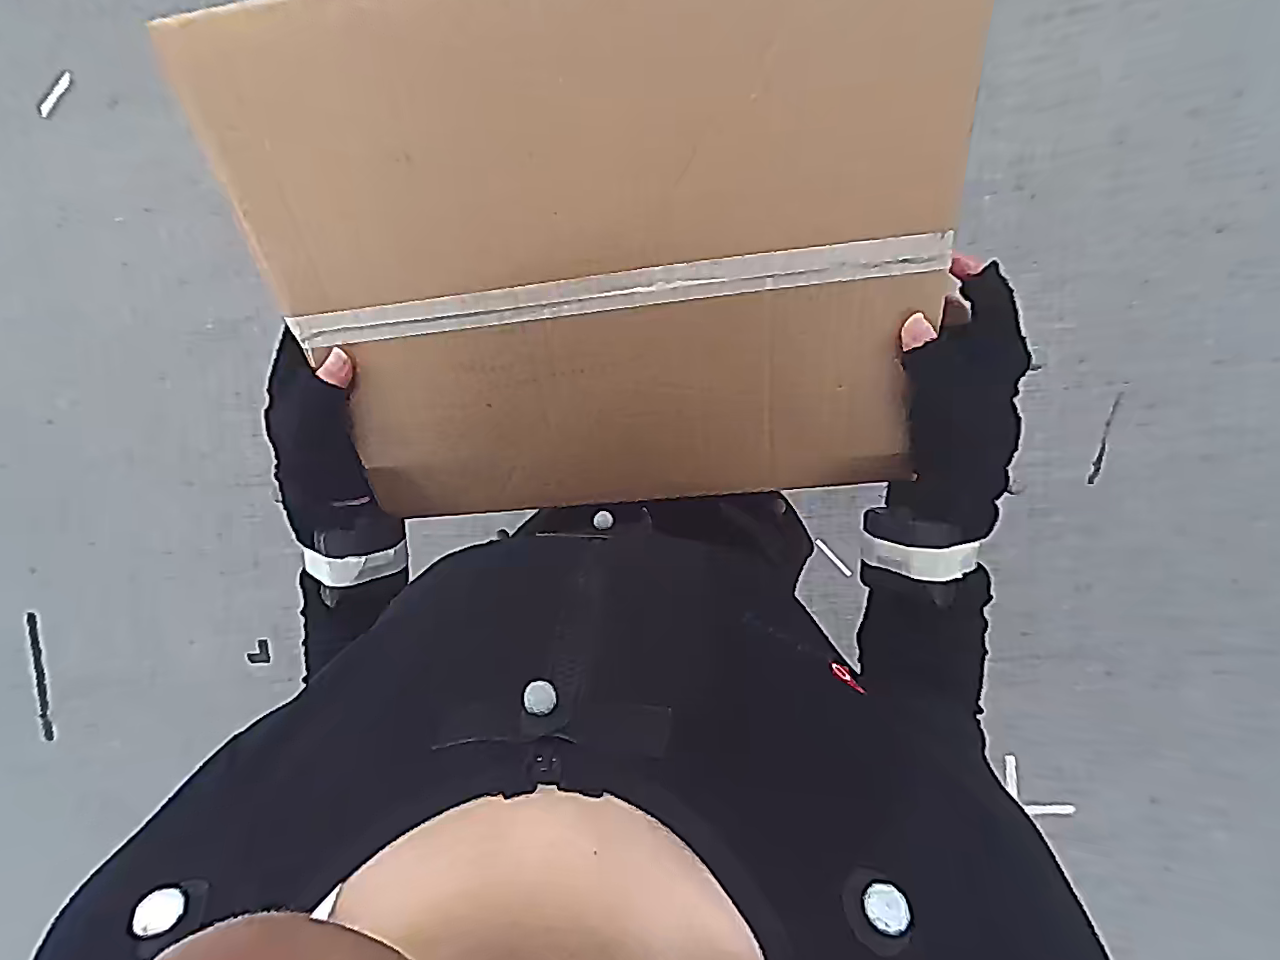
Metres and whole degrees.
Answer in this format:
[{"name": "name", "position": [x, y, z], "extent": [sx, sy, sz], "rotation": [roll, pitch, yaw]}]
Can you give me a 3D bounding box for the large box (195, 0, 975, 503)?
[{"name": "large box", "position": [-0.014, -0.207, 0.462], "extent": [0.408, 0.320, 0.320], "rotation": [-5, 124, 7]}]
